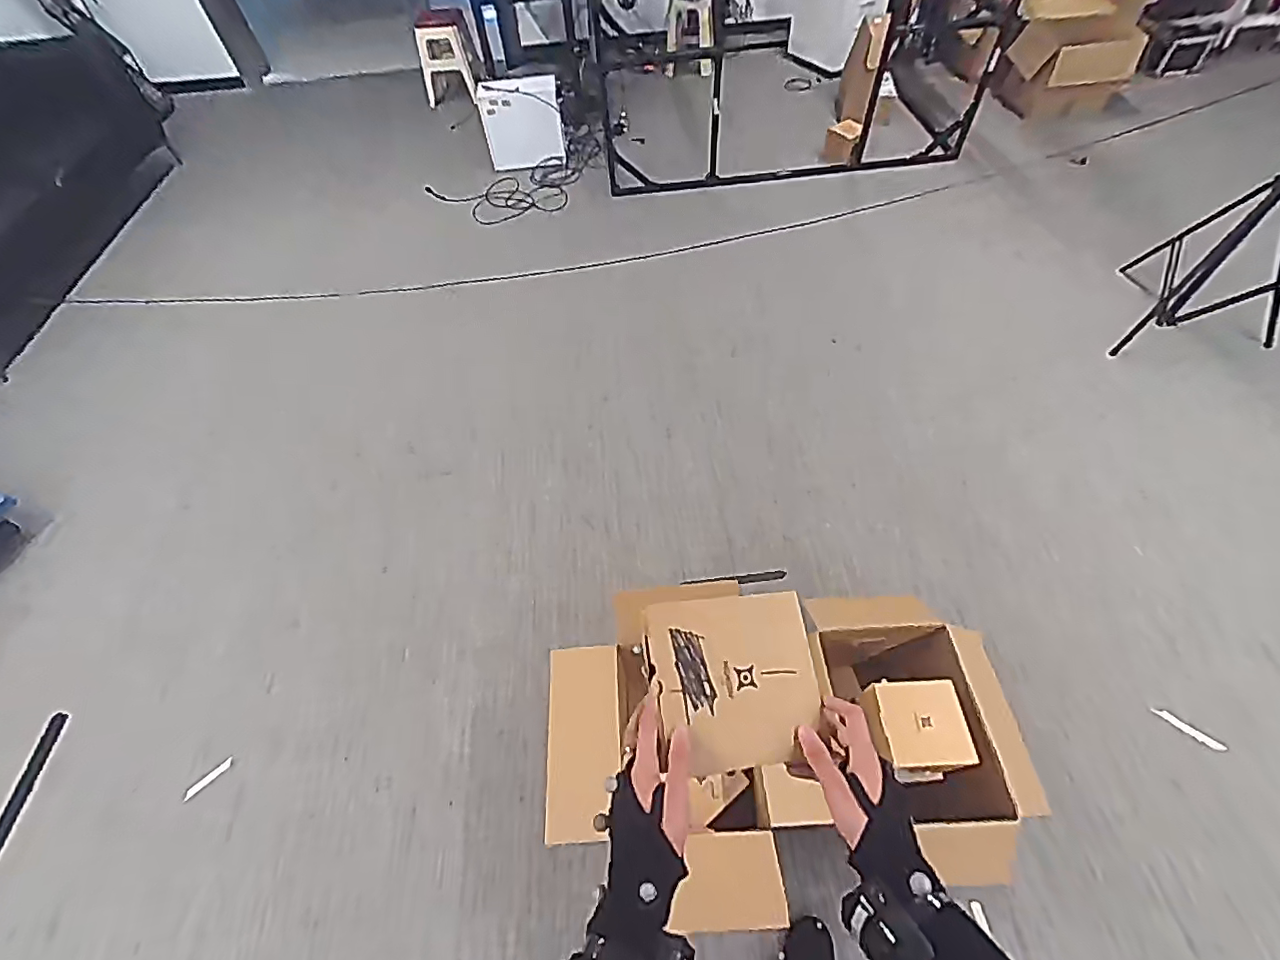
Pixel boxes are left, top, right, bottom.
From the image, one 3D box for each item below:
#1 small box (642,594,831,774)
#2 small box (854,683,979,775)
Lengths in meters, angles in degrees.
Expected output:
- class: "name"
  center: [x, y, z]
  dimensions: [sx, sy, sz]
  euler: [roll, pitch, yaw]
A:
- class: "small box"
  center: [0.098, 0.238, 0.637]
  dimensions: [0.179, 0.176, 0.168]
  euler: [-6, 68, -2]
- class: "small box"
  center: [0.602, 0.555, 1.203]
  dimensions: [0.179, 0.176, 0.168]
  euler: [-4, 57, 1]
